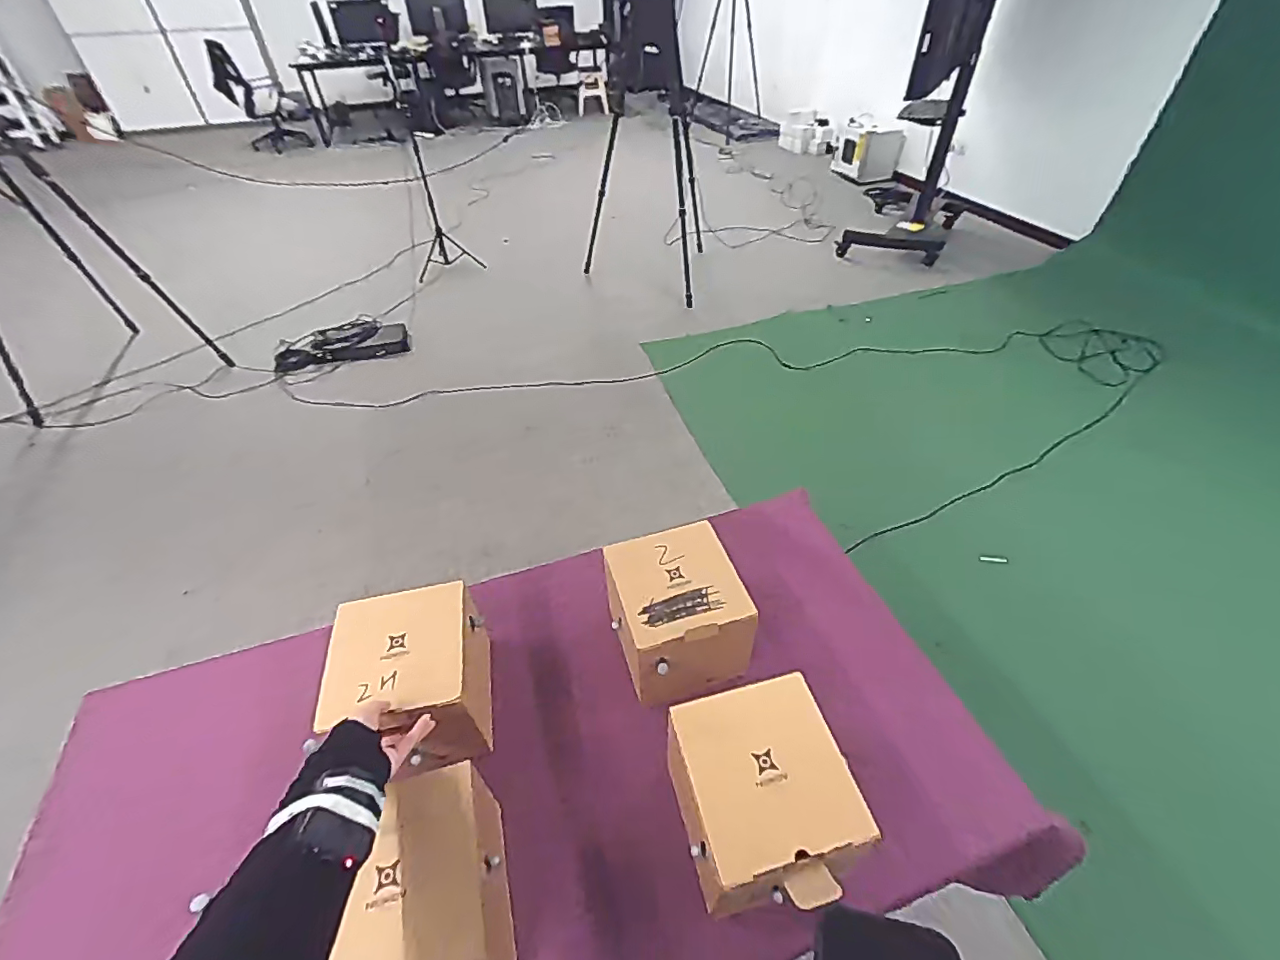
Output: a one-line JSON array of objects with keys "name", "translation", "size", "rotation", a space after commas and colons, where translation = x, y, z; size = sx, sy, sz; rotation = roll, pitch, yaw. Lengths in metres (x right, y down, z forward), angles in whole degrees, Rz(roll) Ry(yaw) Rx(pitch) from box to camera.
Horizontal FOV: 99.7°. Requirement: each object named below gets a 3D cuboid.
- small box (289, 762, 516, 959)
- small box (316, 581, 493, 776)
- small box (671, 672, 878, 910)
[{"name": "small box", "translation": [-0.233, 0.433, 0.563], "size": [0.168, 0.176, 0.179], "rotation": [-12, 44, -11]}, {"name": "small box", "translation": [-0.301, 0.267, 0.733], "size": [0.168, 0.176, 0.179], "rotation": [-10, 45, -7]}, {"name": "small box", "translation": [0.134, 0.357, 0.624], "size": [0.168, 0.176, 0.179], "rotation": [-12, 45, -9]}]
